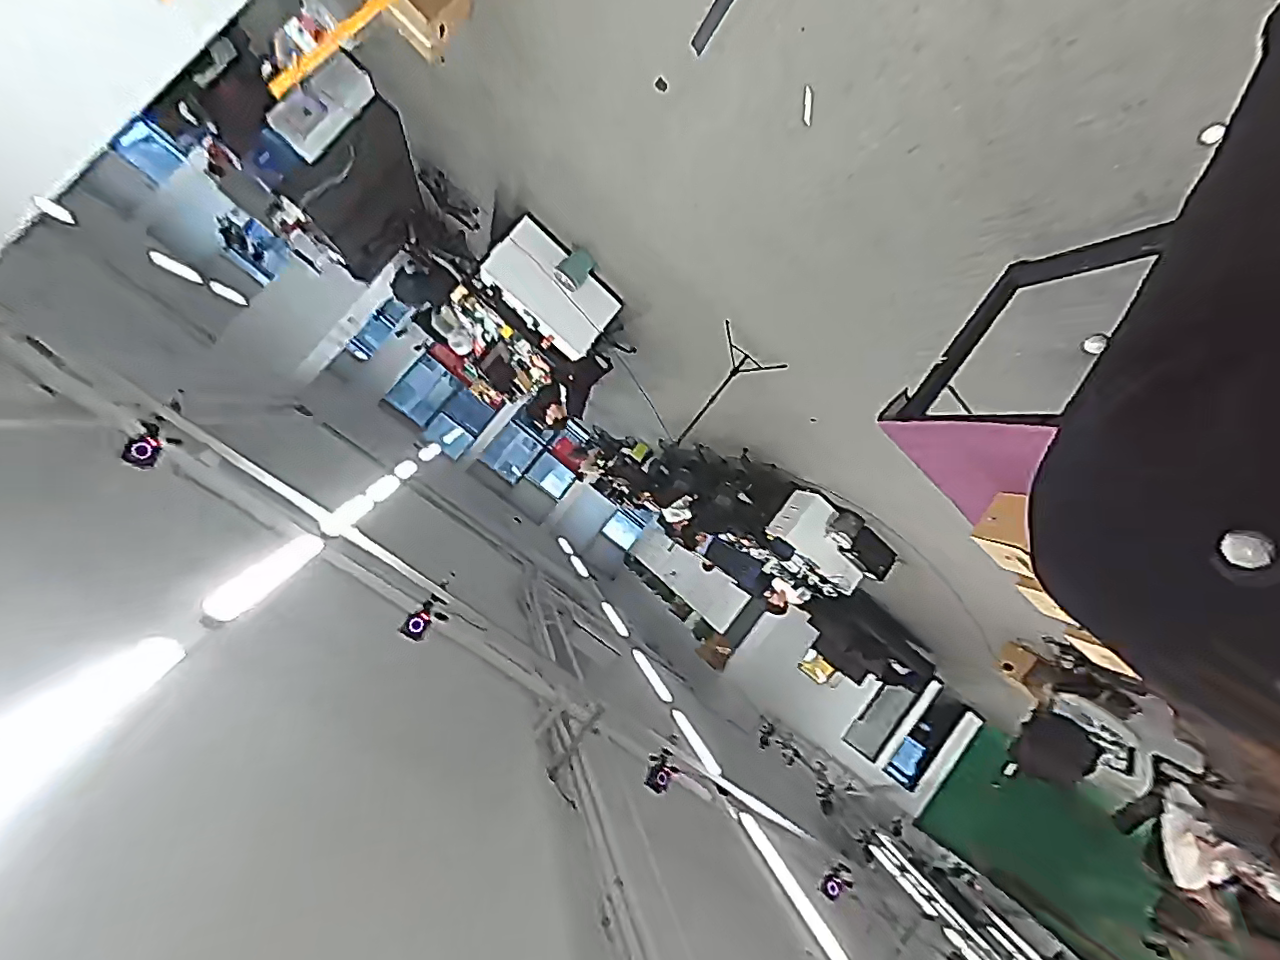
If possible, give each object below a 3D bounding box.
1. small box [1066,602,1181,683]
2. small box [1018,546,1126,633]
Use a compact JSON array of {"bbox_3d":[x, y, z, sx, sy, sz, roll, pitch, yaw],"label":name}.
[{"bbox_3d":[1.503,0.489,1.683,0.168,0.176,0.179,38,175,-8],"label":"small box"},{"bbox_3d":[1.301,0.320,1.621,0.168,0.176,0.179,40,175,-14],"label":"small box"}]
